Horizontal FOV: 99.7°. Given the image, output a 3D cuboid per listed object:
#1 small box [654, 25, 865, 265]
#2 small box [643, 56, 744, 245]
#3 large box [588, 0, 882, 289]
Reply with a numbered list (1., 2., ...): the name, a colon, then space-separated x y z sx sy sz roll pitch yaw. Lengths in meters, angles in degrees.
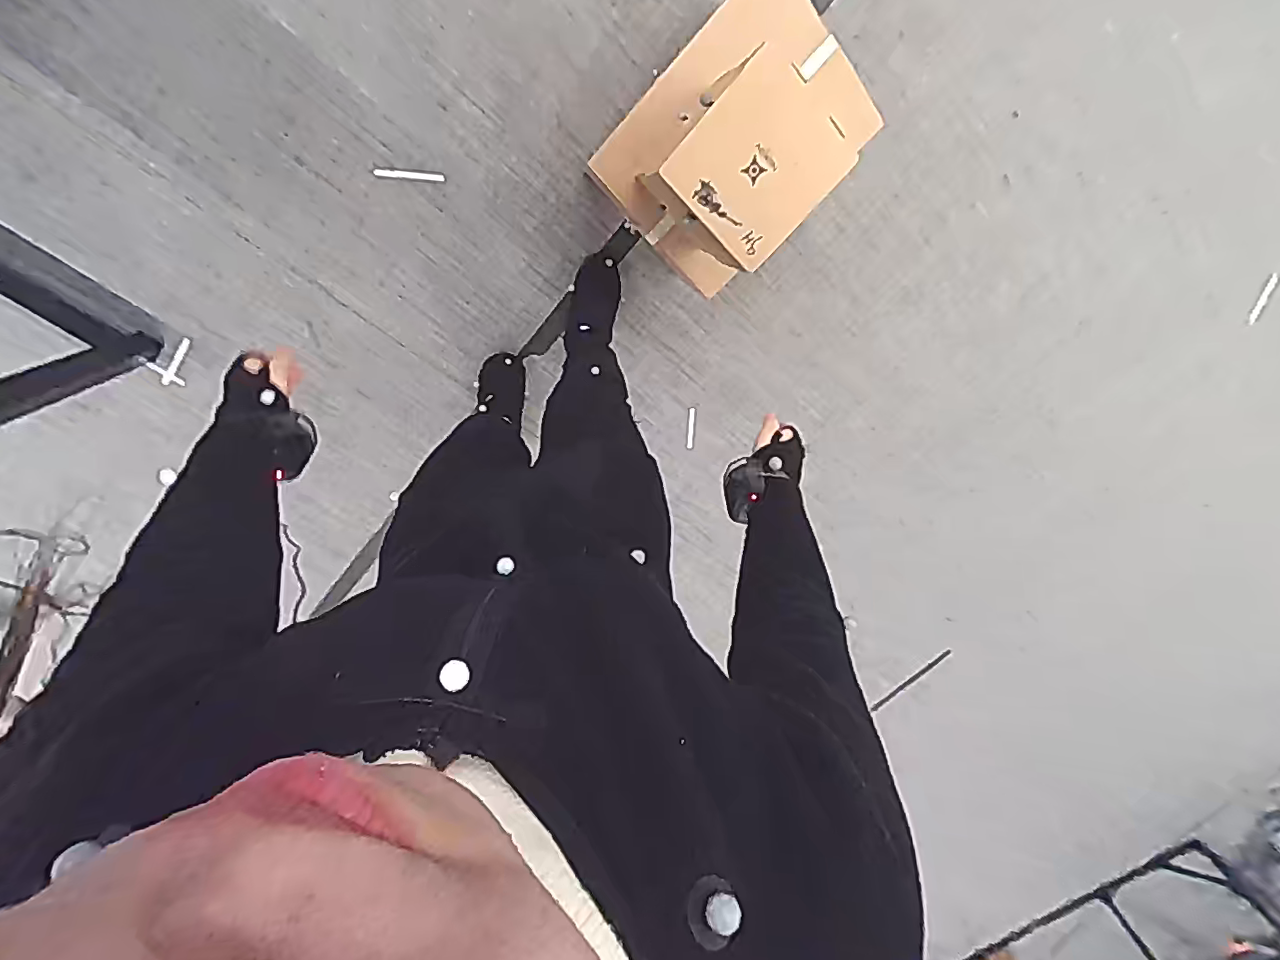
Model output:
1. small box: 0.135 -0.403 0.679 0.168 0.176 0.179 39 106 -22
2. small box: 0.120 -0.484 0.821 0.179 0.176 0.168 -43 114 16
3. large box: 0.145 -0.639 1.020 0.408 0.320 0.320 -43 116 15
